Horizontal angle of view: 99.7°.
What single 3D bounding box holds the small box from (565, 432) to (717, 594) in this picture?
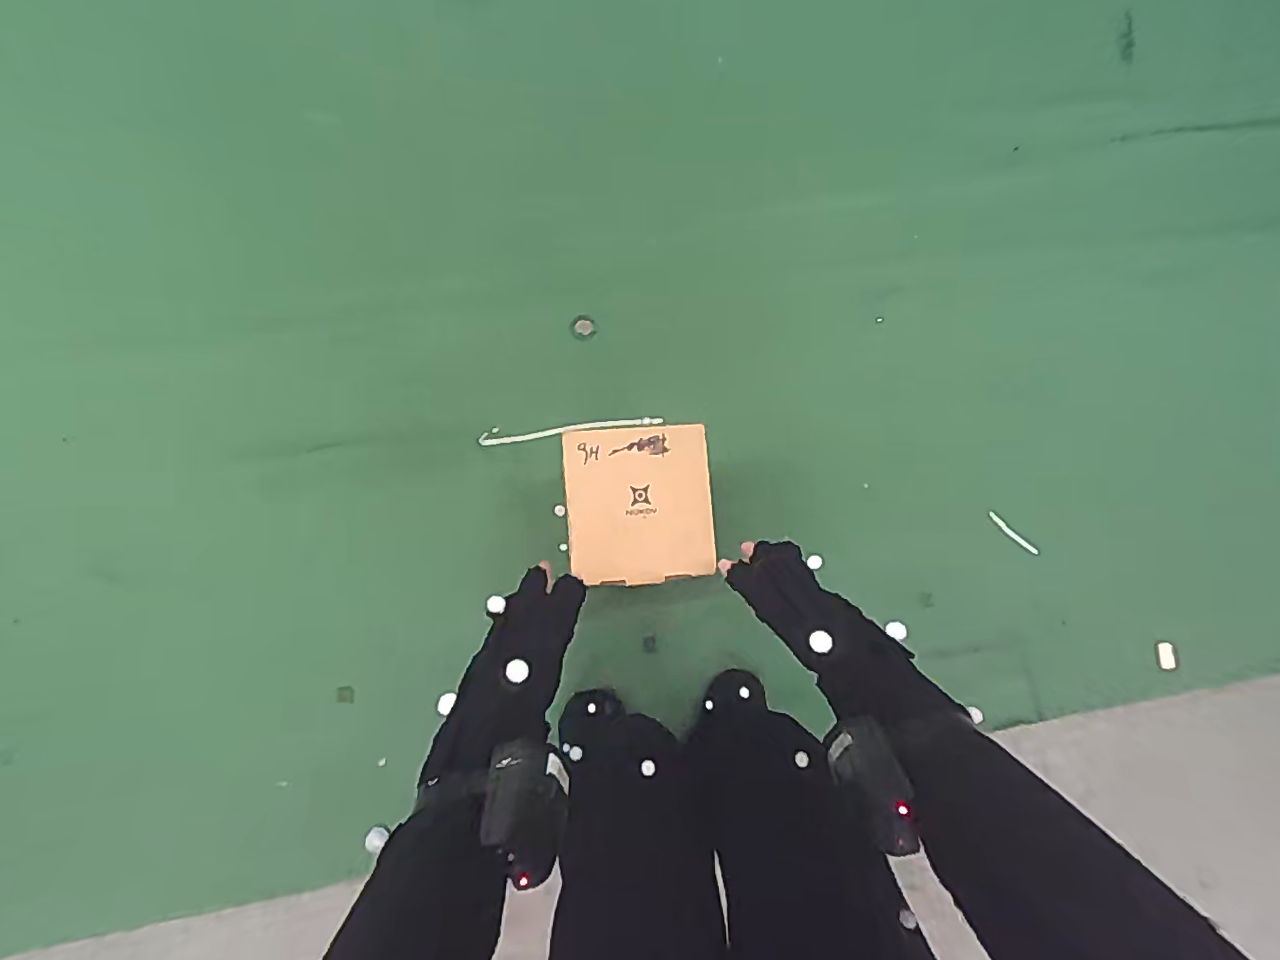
[{"bbox_3d":[-0.006,0.040,0.685,0.168,0.176,0.179,-4,87,-7],"label":"small box"}]
